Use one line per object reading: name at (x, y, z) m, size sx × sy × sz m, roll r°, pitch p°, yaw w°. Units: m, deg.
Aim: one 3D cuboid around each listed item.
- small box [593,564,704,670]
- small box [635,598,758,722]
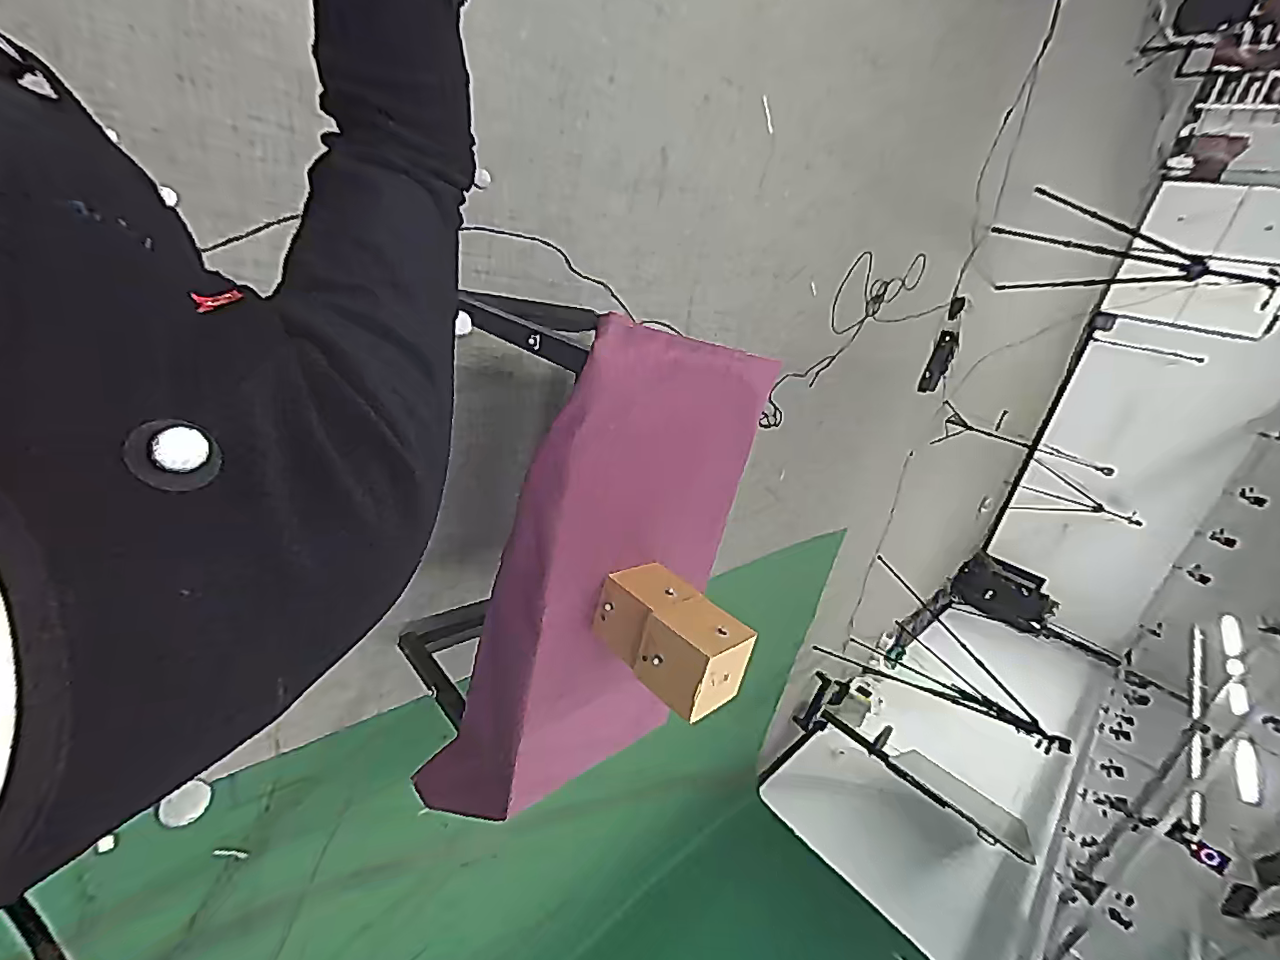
small box at (0.018, 0.316, 1.284) m, size 0.179 × 0.176 × 0.168 m, roll -3°, pitch 114°, yaw -46°
small box at (0.120, 0.376, 1.169) m, size 0.179 × 0.176 × 0.168 m, roll -5°, pitch 115°, yaw -45°
